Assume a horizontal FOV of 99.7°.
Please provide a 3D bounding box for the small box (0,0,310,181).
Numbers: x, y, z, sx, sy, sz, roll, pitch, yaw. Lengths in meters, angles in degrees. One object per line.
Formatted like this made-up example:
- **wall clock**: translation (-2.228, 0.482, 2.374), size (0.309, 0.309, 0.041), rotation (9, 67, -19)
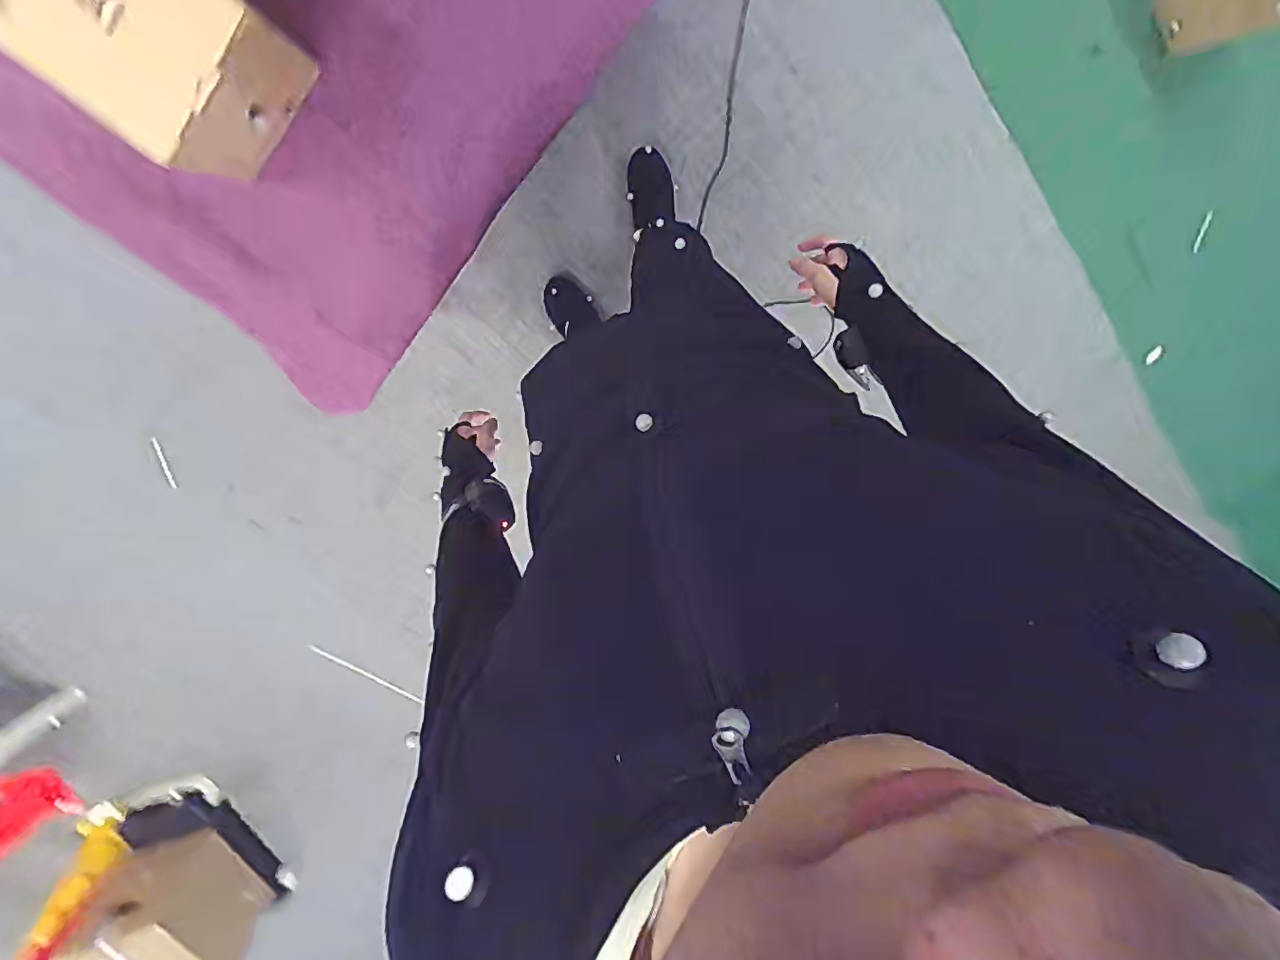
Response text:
- **small box**: translation (-0.478, -0.430, 0.544), size (0.179, 0.176, 0.168), rotation (37, 102, -22)
